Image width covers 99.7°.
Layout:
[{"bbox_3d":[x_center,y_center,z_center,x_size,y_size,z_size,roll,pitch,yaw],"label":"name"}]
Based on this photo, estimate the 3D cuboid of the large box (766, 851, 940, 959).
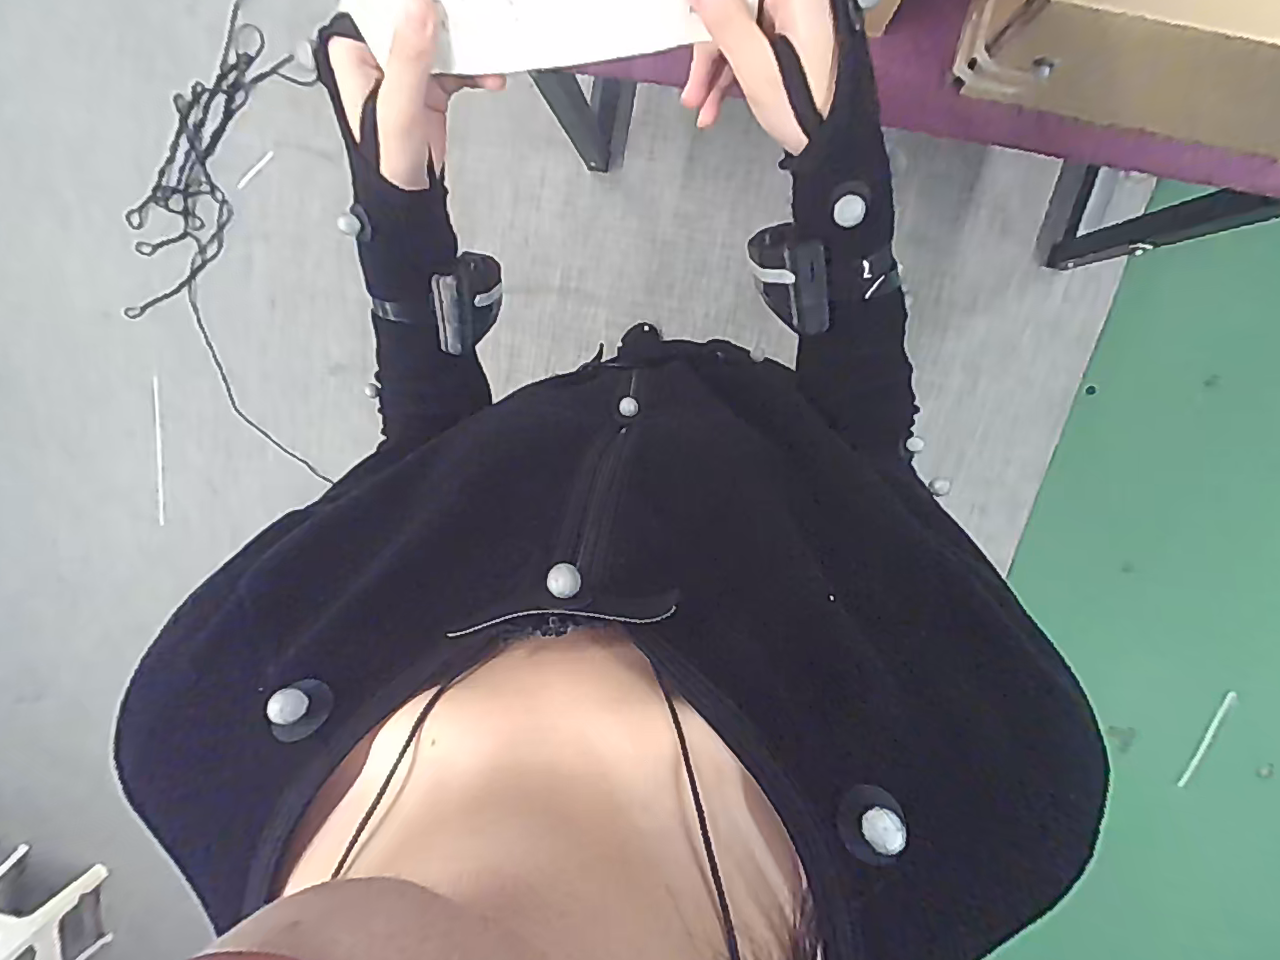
[{"bbox_3d":[0.591,1.343,1.576,0.408,0.320,0.320,-2,102,6],"label":"large box"}]
